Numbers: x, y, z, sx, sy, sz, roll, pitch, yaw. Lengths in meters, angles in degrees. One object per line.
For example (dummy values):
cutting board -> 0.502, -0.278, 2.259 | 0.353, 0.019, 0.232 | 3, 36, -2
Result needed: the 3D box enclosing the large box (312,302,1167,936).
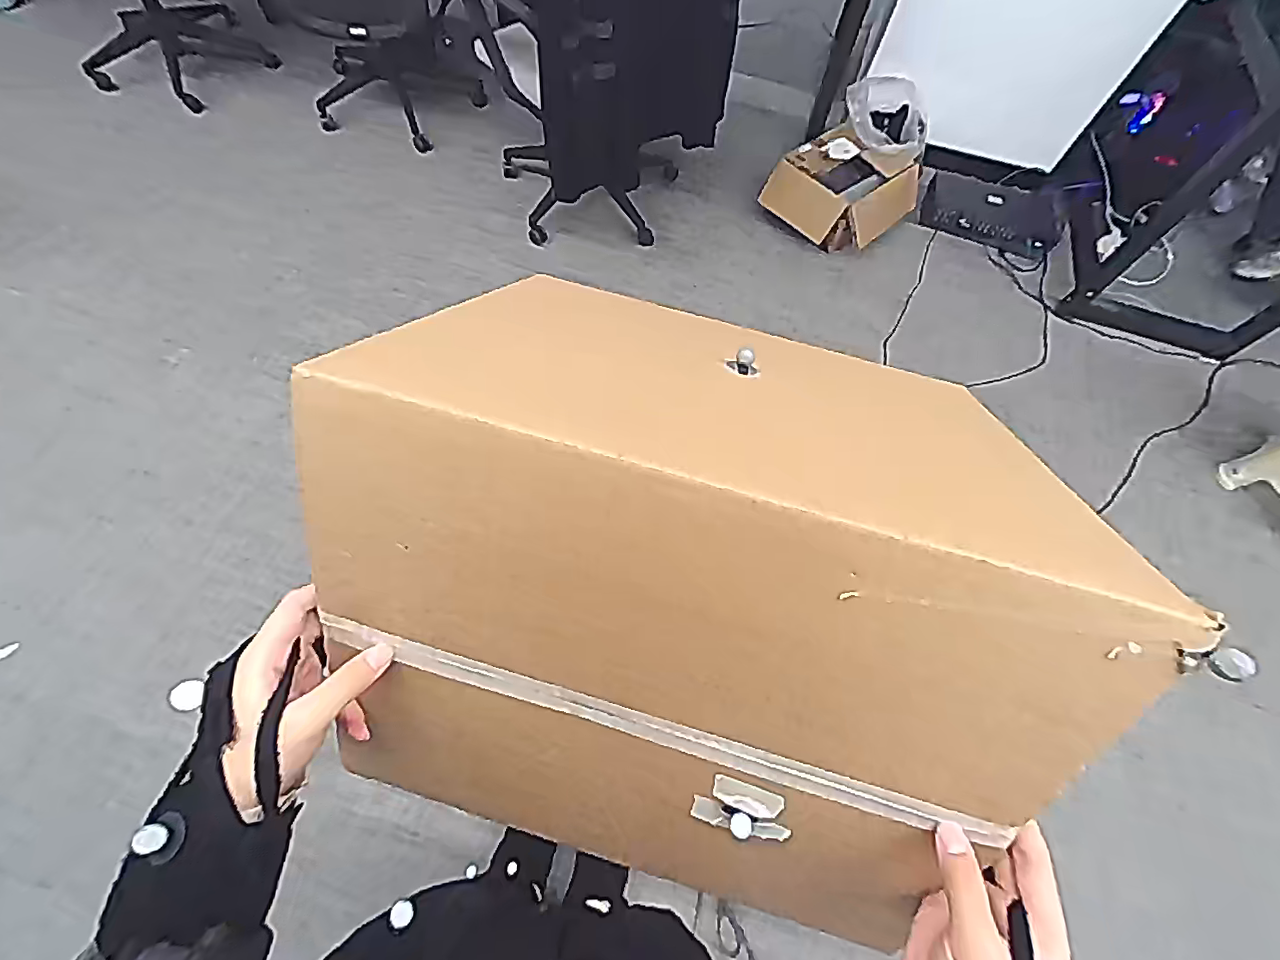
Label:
large box -> 0.032, 0.070, 0.445 | 0.408, 0.320, 0.320 | 15, 31, 4
